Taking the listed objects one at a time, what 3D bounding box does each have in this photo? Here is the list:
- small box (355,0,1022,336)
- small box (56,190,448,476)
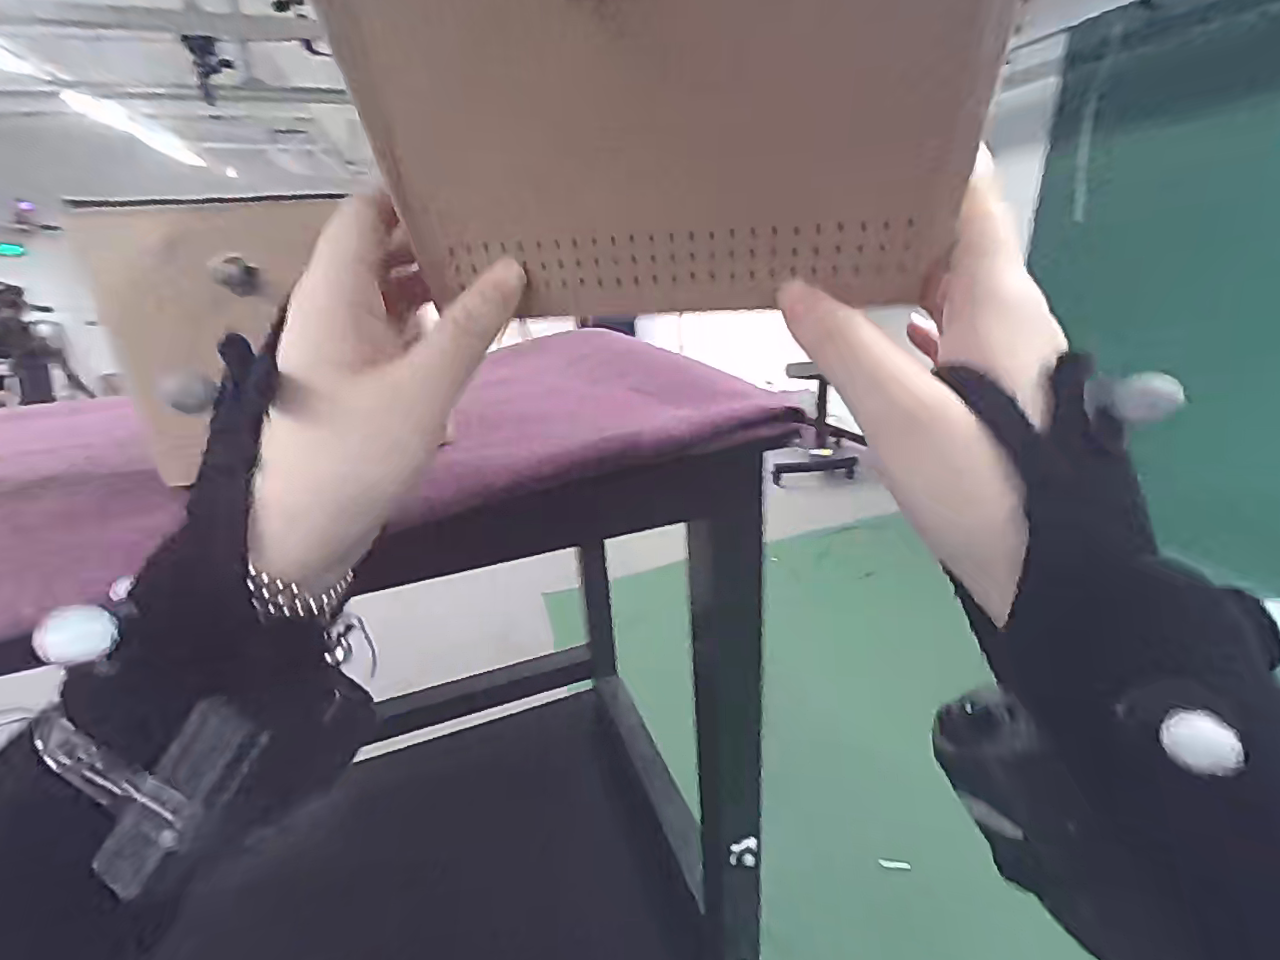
[{"bbox_3d":[0.017,-0.163,0.188,0.179,0.176,0.168,1,47,12],"label":"small box"},{"bbox_3d":[-0.256,-0.110,0.415,0.179,0.176,0.168,-11,21,-16],"label":"small box"}]
